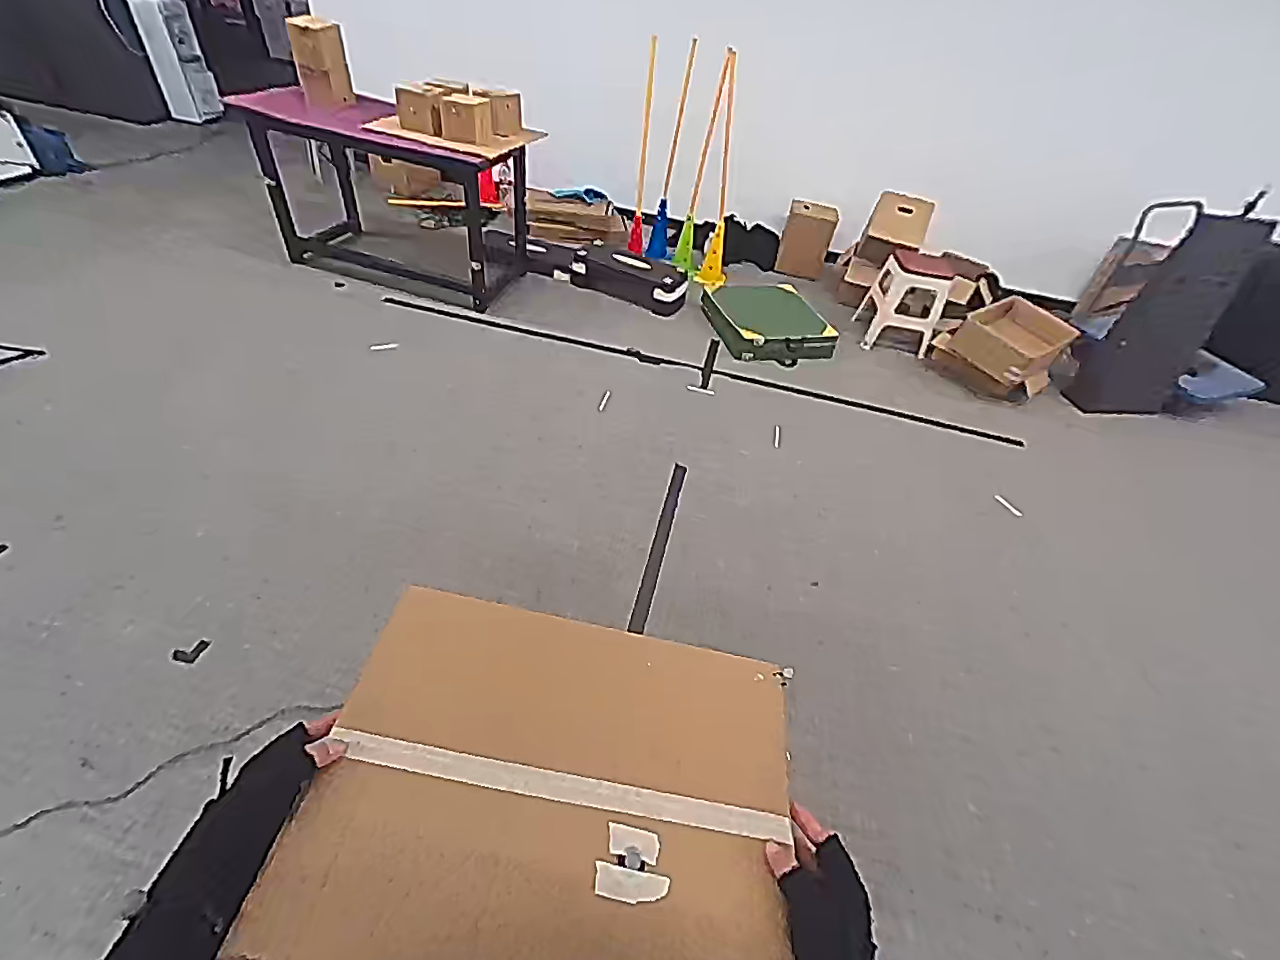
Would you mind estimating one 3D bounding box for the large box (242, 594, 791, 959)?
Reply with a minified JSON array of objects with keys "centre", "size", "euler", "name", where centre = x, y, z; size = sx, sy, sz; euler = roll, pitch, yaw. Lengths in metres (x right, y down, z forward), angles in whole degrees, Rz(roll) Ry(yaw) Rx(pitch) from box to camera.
[{"centre":[-0.093,0.368,0.584],"size":[0.408,0.320,0.320],"euler":[13,46,-3],"name":"large box"}]
